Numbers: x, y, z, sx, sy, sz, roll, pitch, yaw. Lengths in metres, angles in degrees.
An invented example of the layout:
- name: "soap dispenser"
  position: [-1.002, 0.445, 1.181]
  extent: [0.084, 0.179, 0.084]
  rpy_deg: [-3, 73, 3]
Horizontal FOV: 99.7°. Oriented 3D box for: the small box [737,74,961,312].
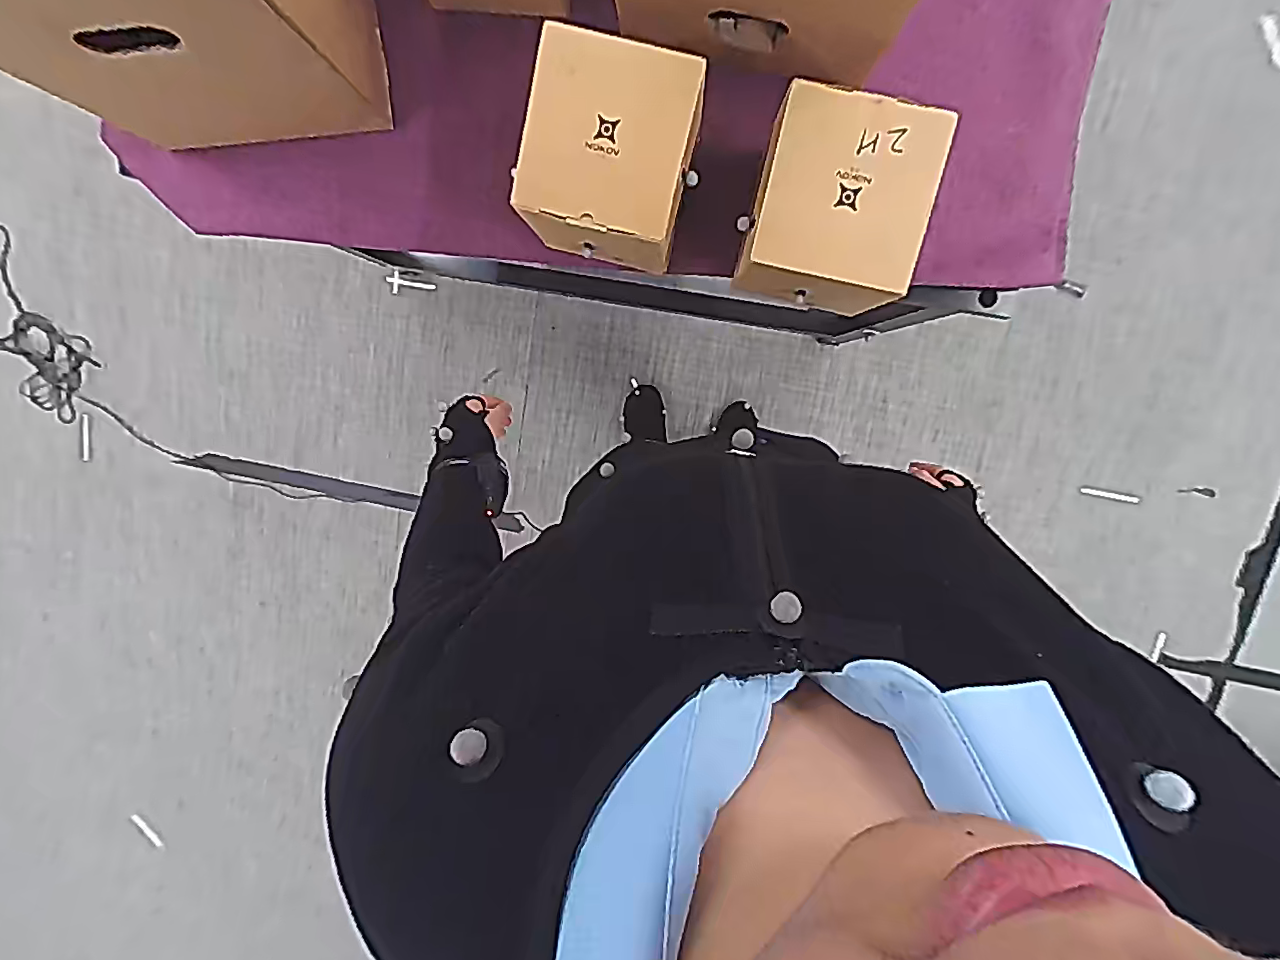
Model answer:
- name: "small box"
  position: [0.213, -0.299, 0.607]
  extent: [0.168, 0.176, 0.179]
  rpy_deg: [13, 99, 0]
